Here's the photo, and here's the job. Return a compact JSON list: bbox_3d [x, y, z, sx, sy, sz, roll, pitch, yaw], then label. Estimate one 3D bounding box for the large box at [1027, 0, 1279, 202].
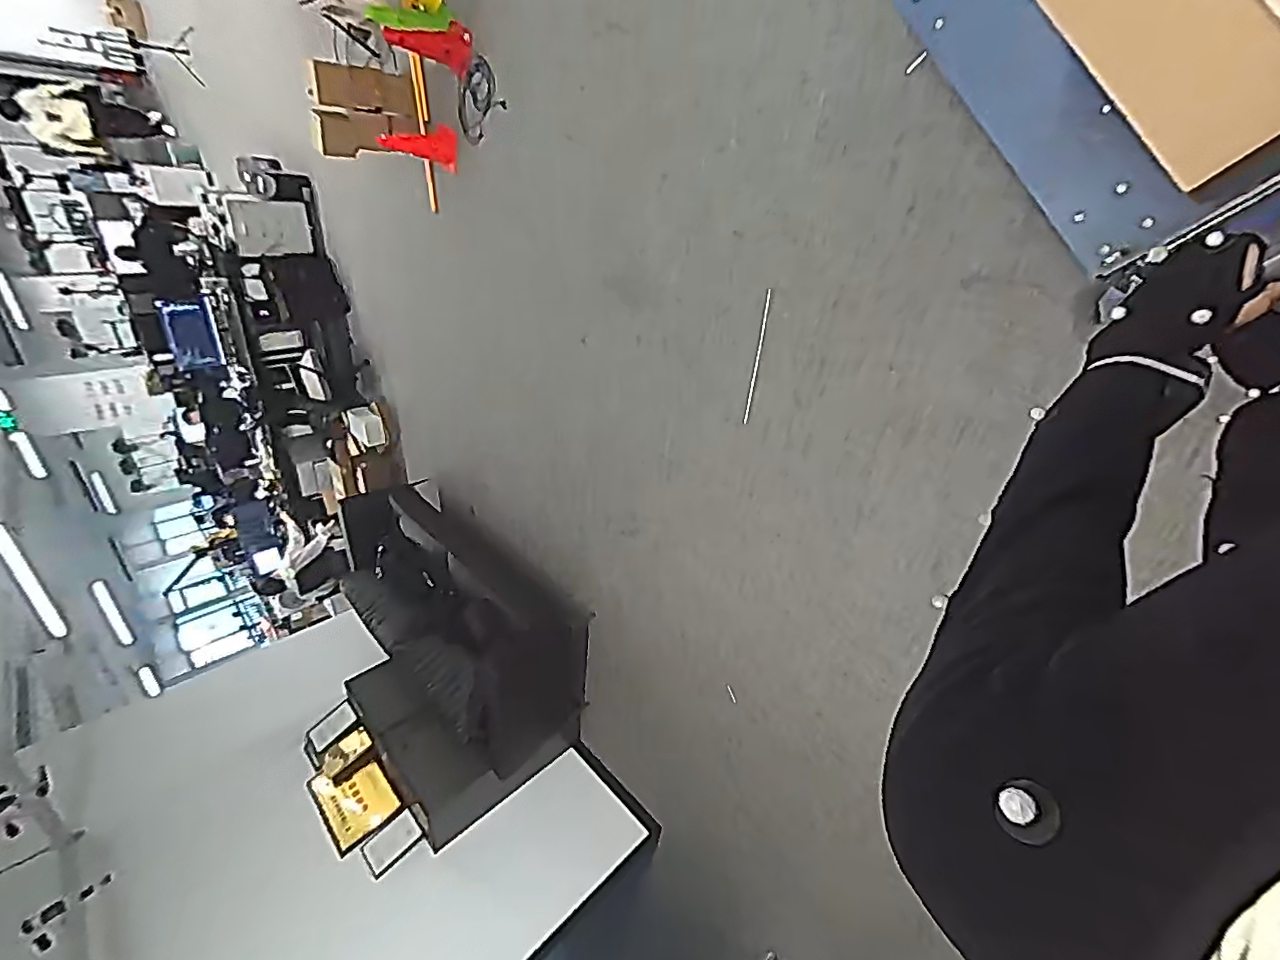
[{"bbox_3d":[0.873,-0.678,0.782,0.320,0.320,0.408,-38,78,48],"label":"large box"}]
